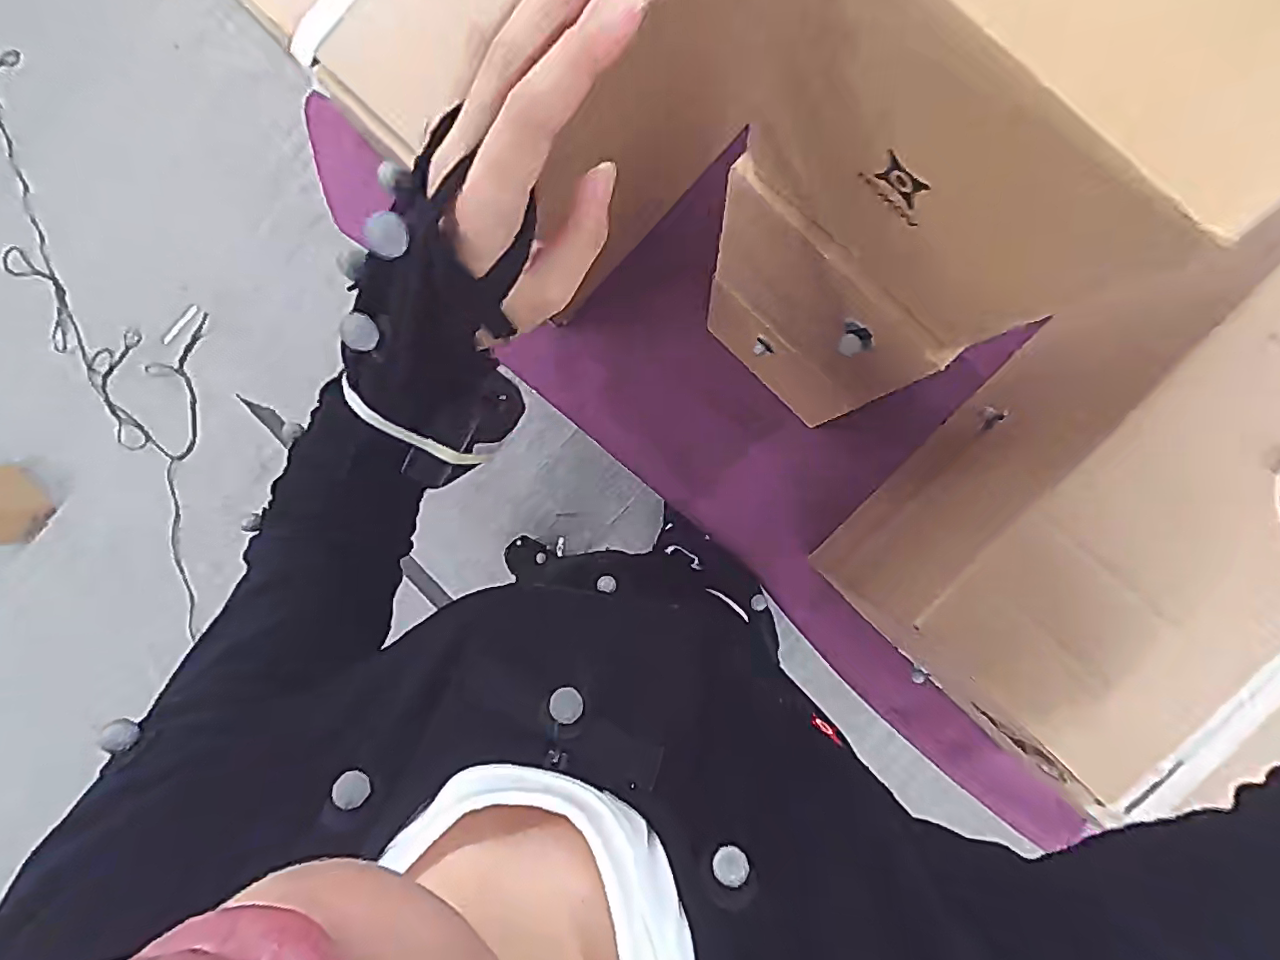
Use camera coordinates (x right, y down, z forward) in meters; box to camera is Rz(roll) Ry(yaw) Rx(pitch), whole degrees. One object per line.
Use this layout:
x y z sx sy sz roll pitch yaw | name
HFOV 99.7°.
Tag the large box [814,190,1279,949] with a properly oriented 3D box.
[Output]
0.425 0.049 0.460 0.320 0.320 0.408 43 92 3 | large box
